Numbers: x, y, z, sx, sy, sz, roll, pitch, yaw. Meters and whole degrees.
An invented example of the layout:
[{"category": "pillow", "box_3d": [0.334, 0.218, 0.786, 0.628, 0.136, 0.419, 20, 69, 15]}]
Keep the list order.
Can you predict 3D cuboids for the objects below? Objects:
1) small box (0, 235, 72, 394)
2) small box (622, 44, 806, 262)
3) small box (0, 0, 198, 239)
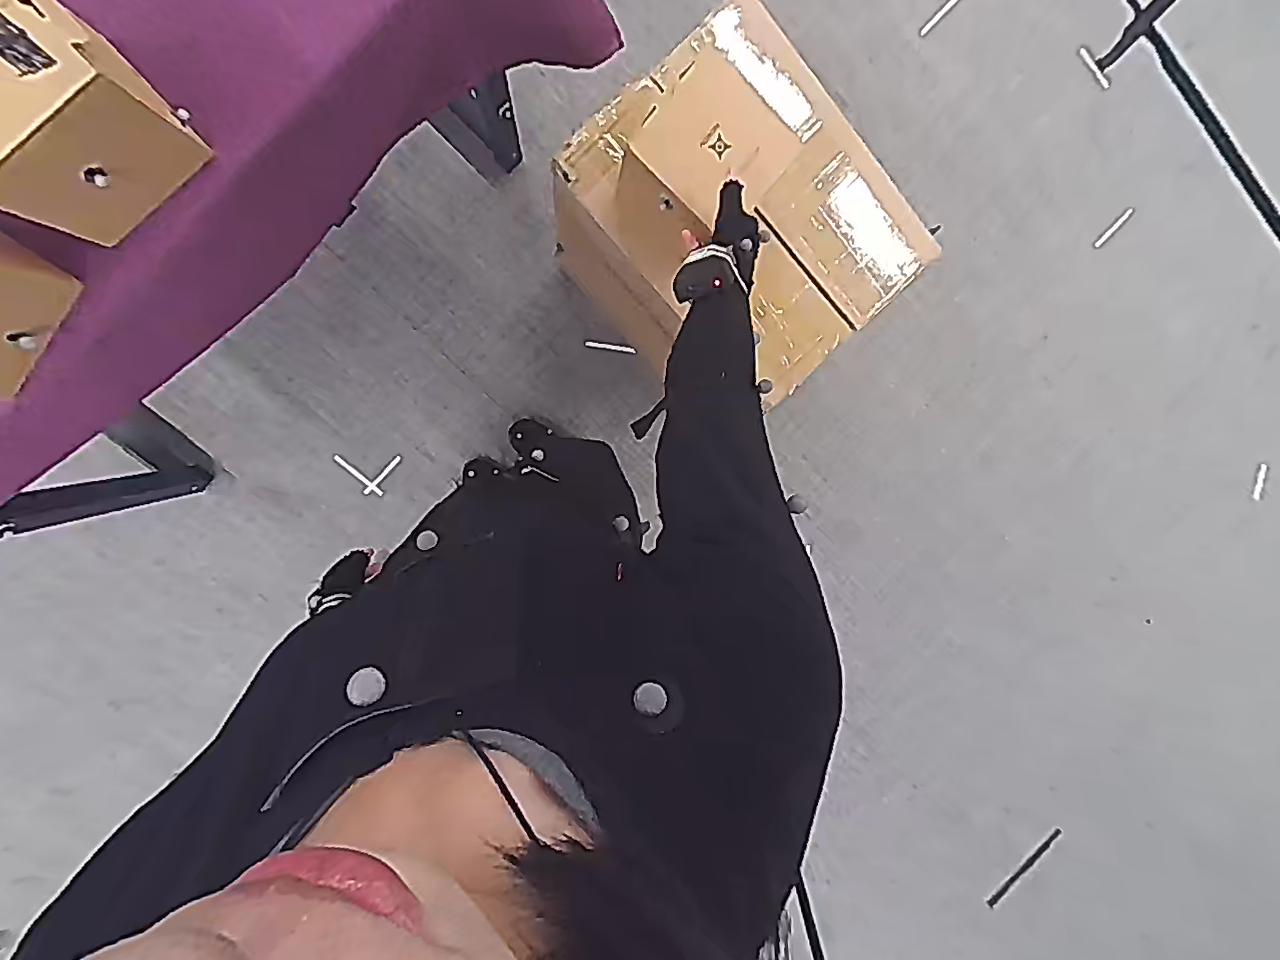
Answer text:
[{"category": "small box", "box_3d": [-0.785, -0.209, 0.574, 0.168, 0.176, 0.179, 33, 90, -9]}, {"category": "small box", "box_3d": [0.090, -0.440, 0.766, 0.179, 0.176, 0.168, 40, 93, -12]}, {"category": "small box", "box_3d": [-0.627, -0.396, 0.571, 0.179, 0.176, 0.168, -42, 99, 0]}]
